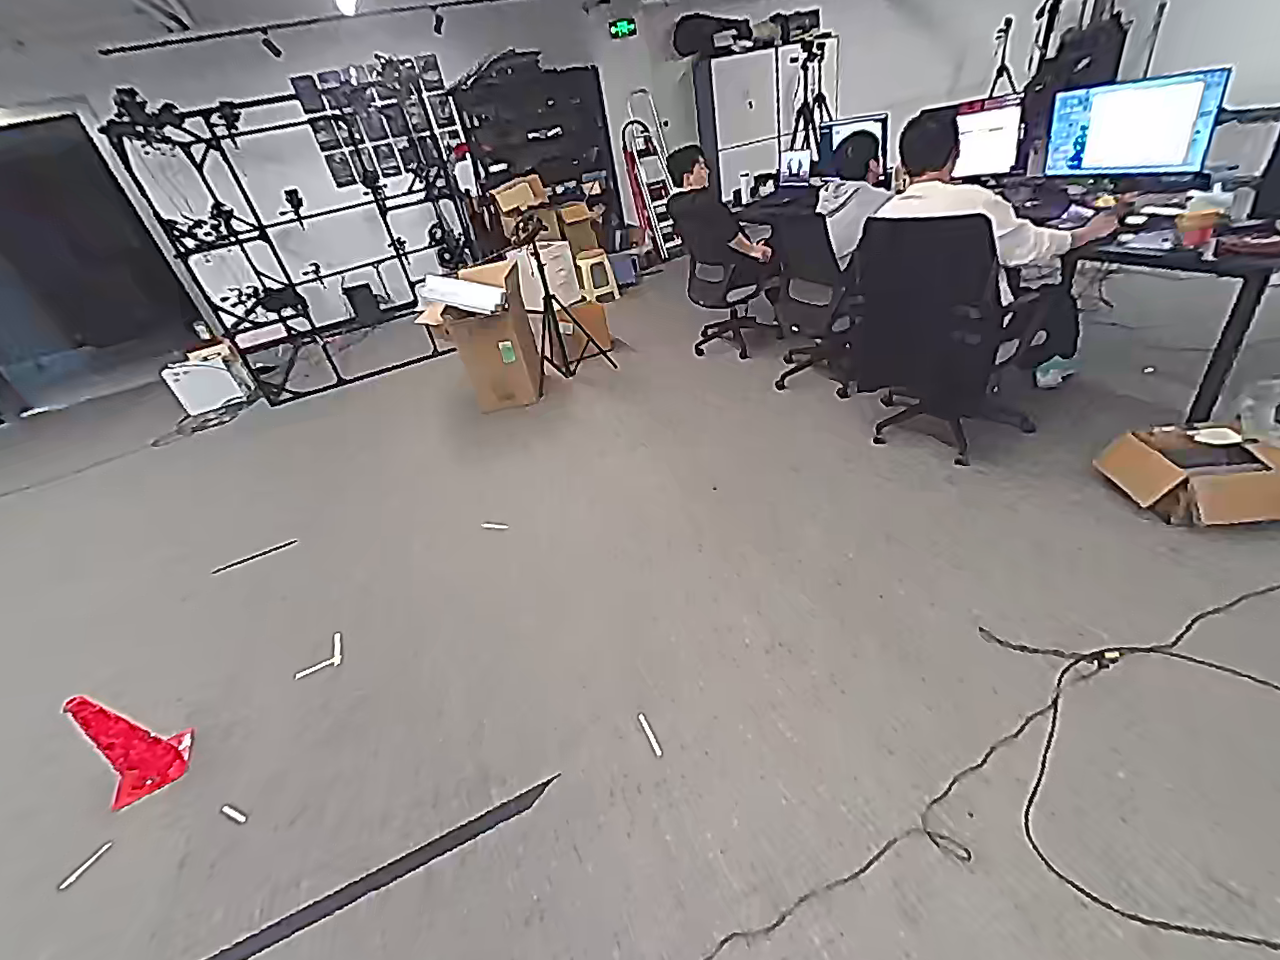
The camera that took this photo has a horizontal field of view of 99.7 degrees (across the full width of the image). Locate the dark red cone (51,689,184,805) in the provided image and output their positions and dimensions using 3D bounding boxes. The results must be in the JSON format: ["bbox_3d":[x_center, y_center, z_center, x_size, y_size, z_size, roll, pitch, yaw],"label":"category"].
[{"bbox_3d":[-1.583,0.757,1.607,0.202,0.394,0.201,-26,36,-21],"label":"dark red cone"}]
